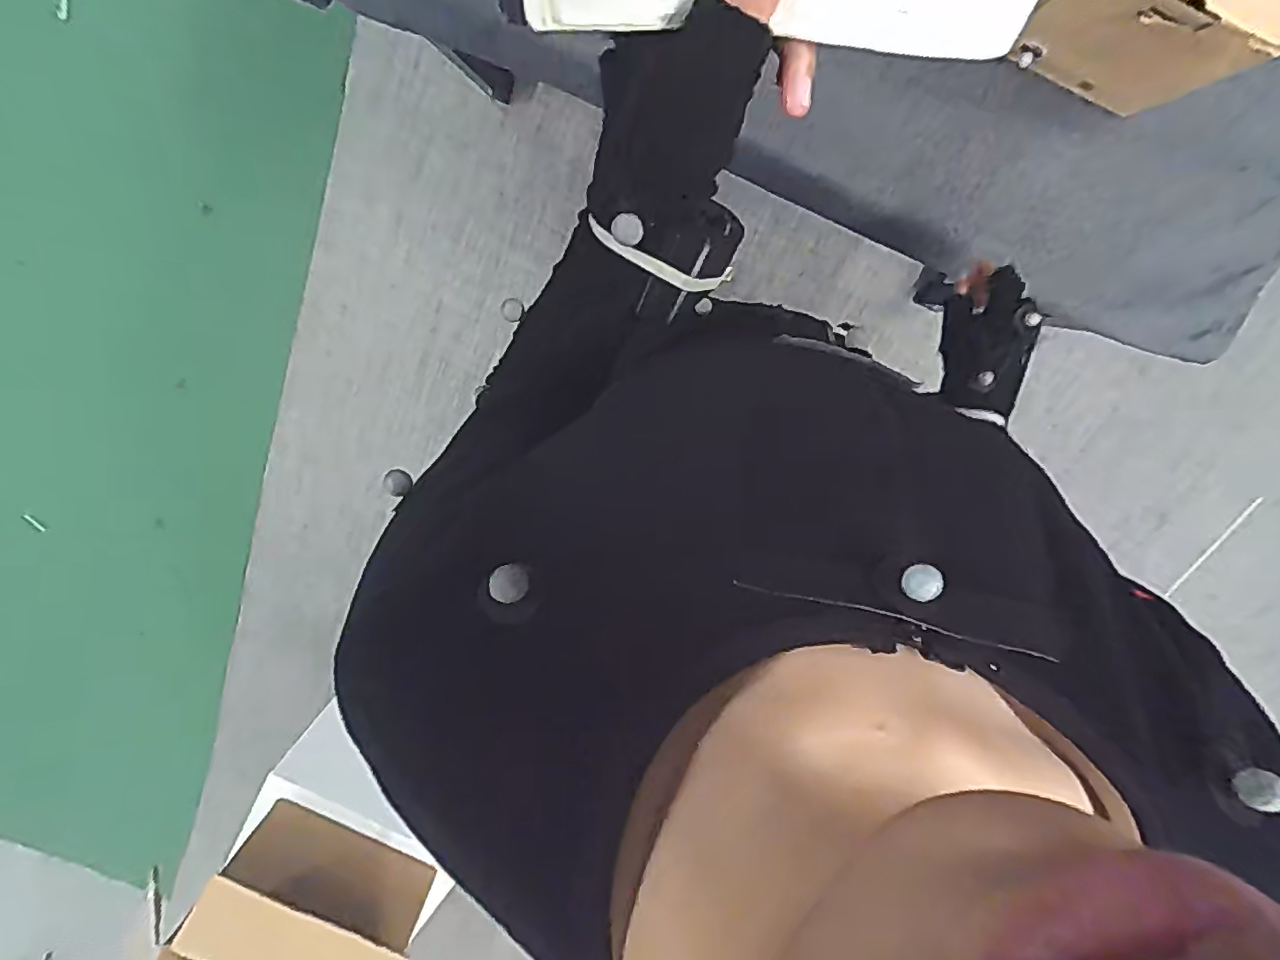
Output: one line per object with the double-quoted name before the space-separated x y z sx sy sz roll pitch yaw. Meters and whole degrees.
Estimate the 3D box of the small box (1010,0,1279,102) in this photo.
"small box" 0.464 -0.466 0.459 0.168 0.176 0.179 23 109 -4
